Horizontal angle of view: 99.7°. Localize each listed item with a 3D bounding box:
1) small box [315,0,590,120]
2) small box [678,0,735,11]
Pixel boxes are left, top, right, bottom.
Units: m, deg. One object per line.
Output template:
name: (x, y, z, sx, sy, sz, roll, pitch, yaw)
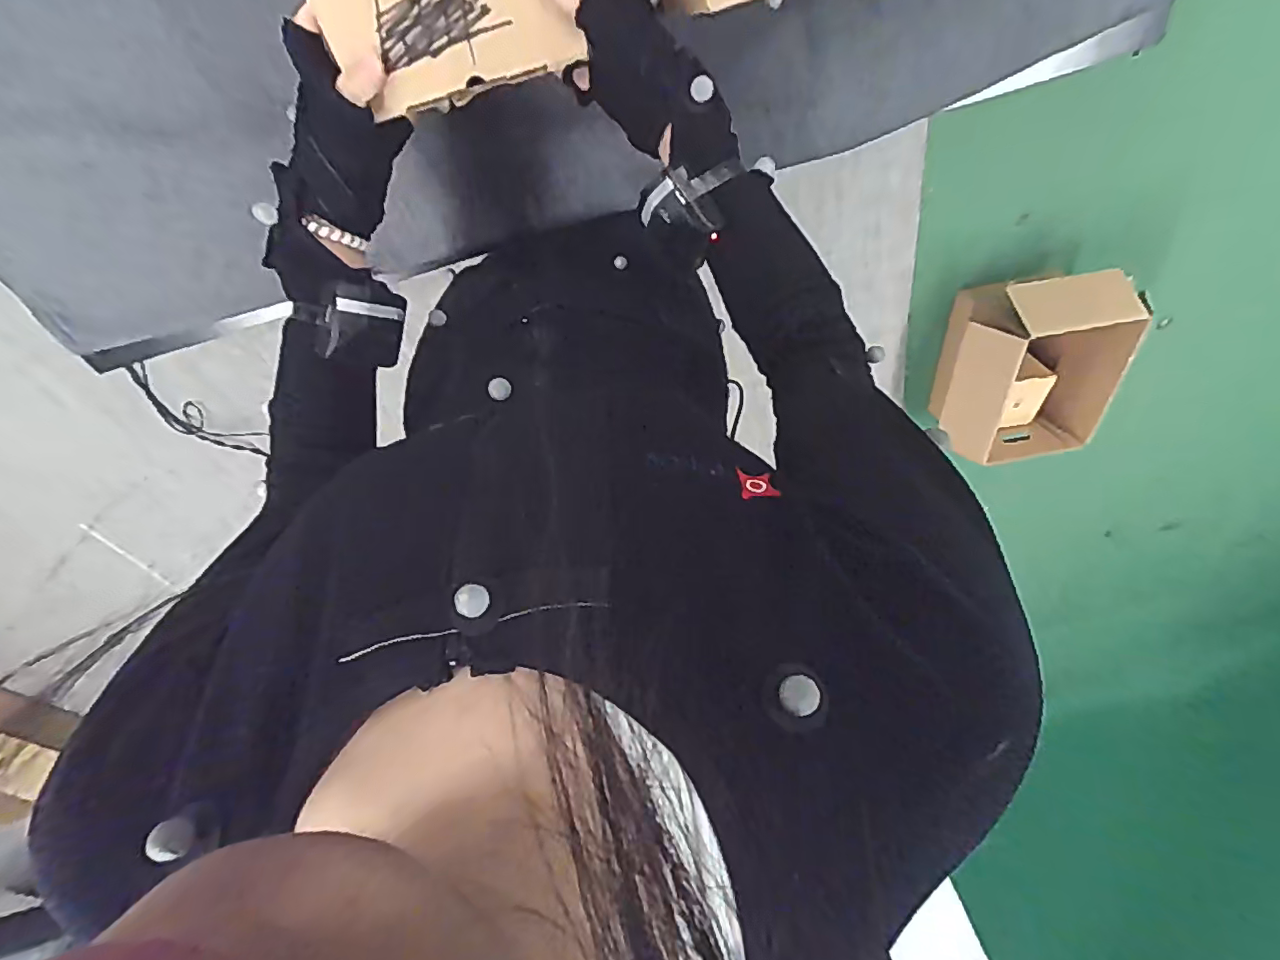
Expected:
small box: (-0.139, -0.385, 0.379, 0.168, 0.176, 0.179, -15, 130, 2)
small box: (0.093, -0.452, 0.364, 0.168, 0.176, 0.179, -15, 131, 5)
